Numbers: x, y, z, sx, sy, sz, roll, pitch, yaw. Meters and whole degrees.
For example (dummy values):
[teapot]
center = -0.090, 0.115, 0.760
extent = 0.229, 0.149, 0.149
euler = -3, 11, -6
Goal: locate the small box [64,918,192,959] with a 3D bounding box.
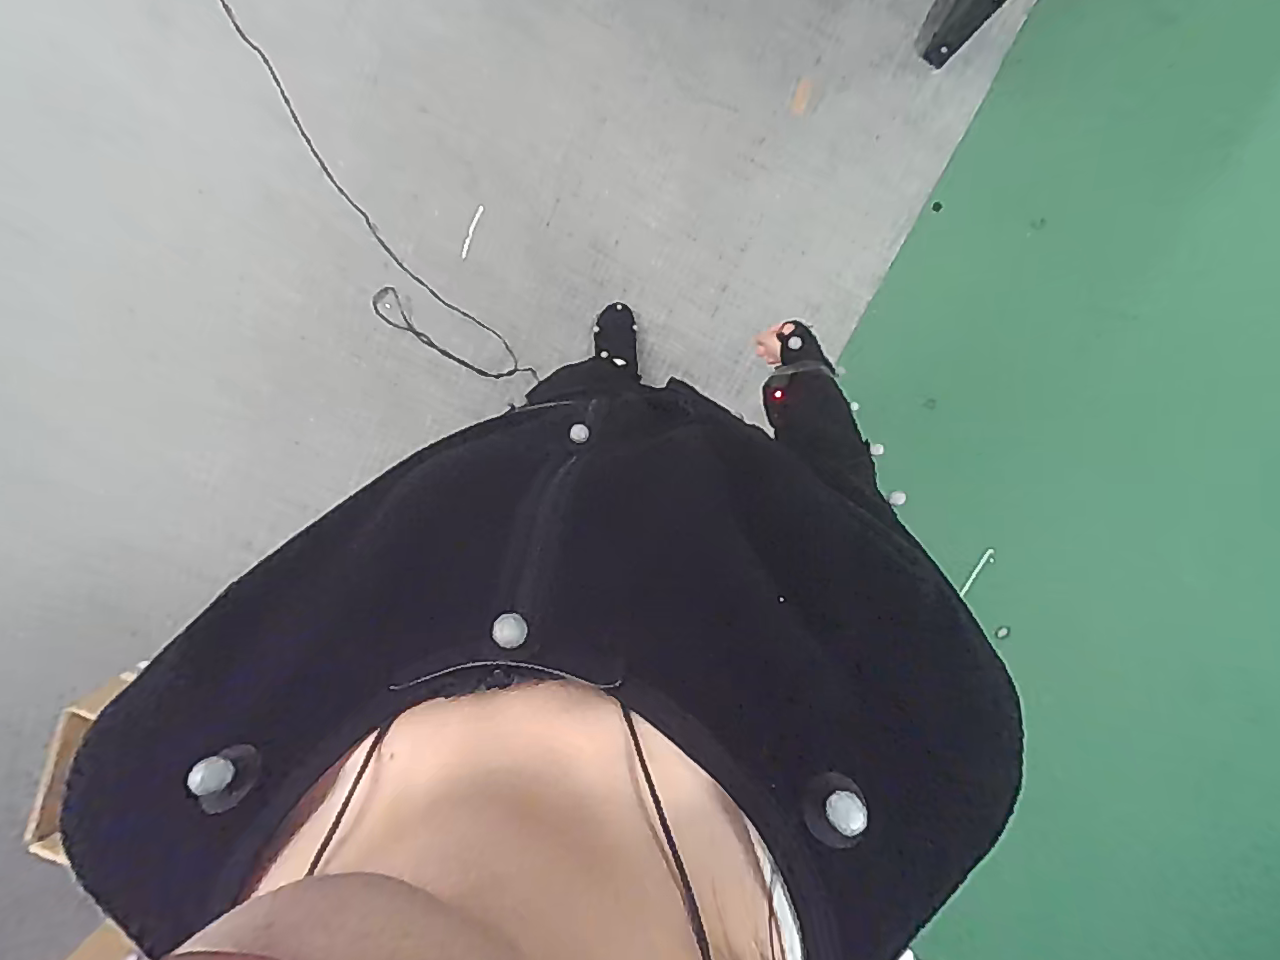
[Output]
[small box]
center = -0.877, 0.871, 0.870
extent = 0.168, 0.176, 0.179
euler = 24, 102, -5
